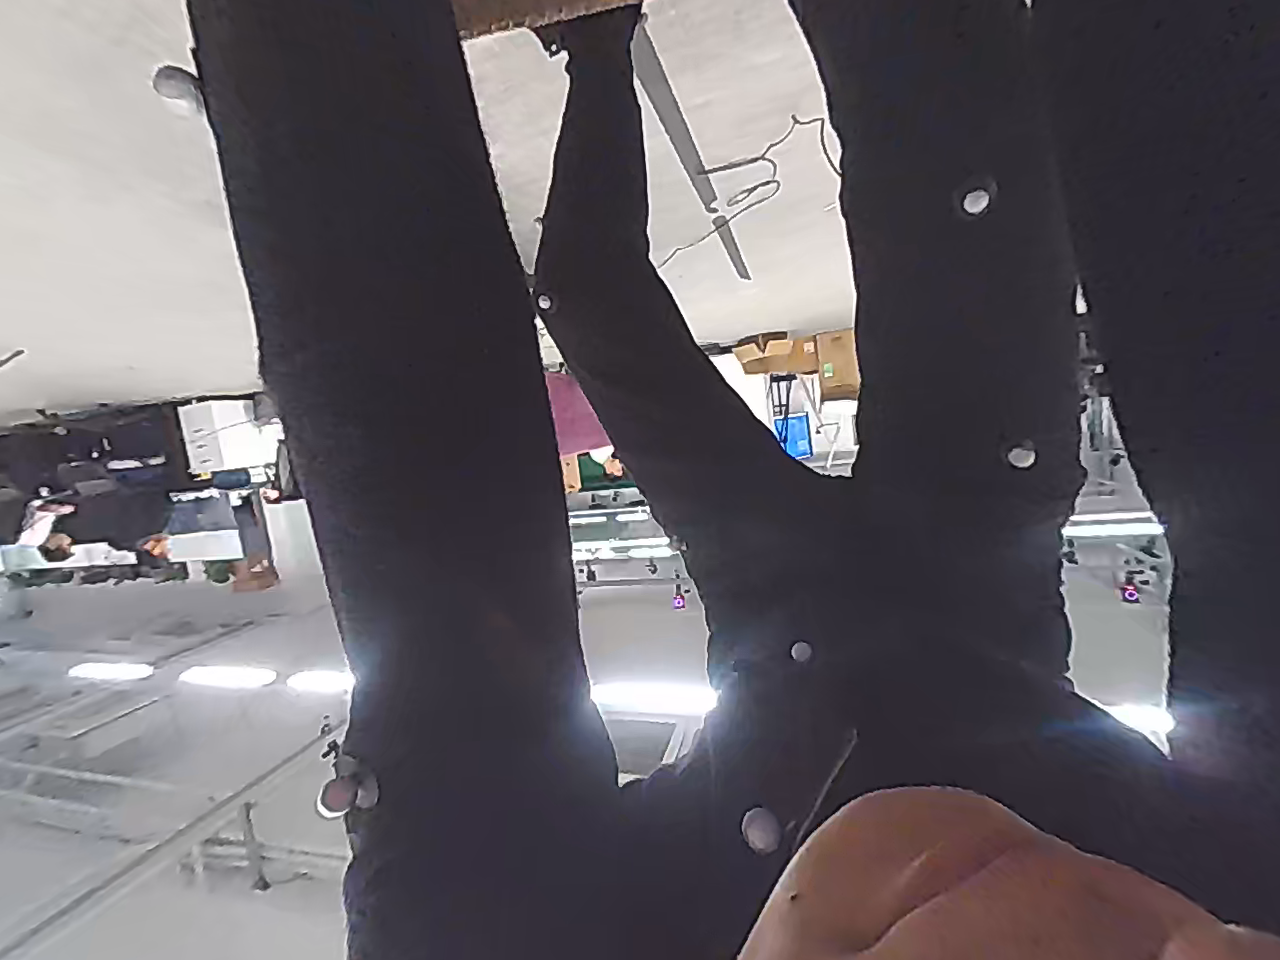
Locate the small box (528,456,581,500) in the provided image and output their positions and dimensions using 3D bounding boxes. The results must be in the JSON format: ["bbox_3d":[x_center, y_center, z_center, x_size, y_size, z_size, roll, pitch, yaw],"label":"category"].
[{"bbox_3d":[-0.374,-0.009,2.312,0.179,0.176,0.168,-5,-173,27],"label":"small box"}]
